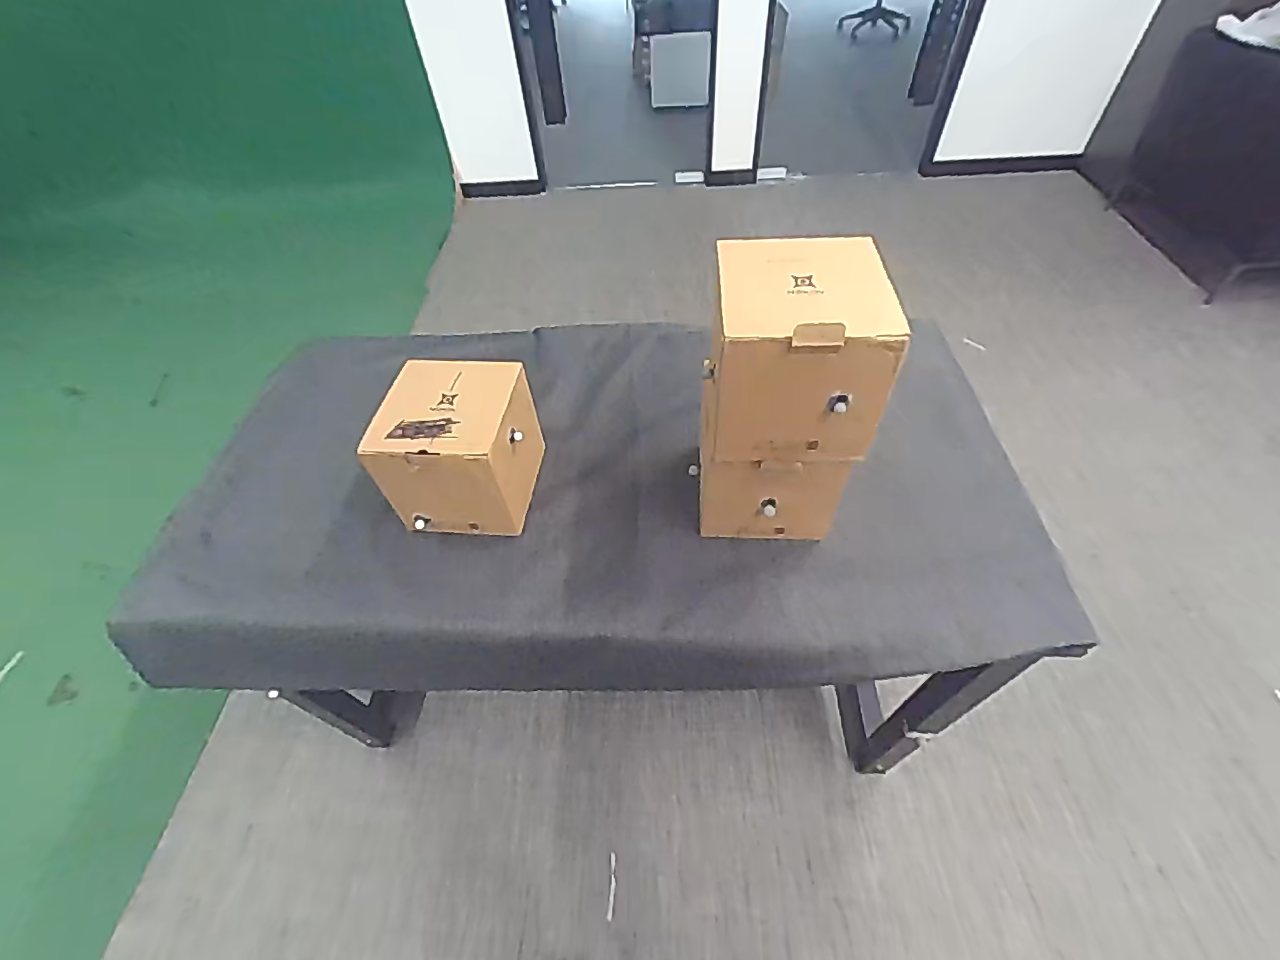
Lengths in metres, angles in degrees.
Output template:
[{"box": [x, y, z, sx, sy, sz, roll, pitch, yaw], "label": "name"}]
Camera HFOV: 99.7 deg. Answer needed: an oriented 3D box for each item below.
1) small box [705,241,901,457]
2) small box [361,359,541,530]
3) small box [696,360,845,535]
[{"box": [0.159, -0.140, 0.595, 0.168, 0.176, 0.179, 1, 50, 3], "label": "small box"}, {"box": [-0.244, -0.047, 0.754, 0.168, 0.176, 0.179, 3, 50, 5], "label": "small box"}, {"box": [0.161, -0.041, 0.724, 0.168, 0.176, 0.179, 1, 51, 4], "label": "small box"}]
